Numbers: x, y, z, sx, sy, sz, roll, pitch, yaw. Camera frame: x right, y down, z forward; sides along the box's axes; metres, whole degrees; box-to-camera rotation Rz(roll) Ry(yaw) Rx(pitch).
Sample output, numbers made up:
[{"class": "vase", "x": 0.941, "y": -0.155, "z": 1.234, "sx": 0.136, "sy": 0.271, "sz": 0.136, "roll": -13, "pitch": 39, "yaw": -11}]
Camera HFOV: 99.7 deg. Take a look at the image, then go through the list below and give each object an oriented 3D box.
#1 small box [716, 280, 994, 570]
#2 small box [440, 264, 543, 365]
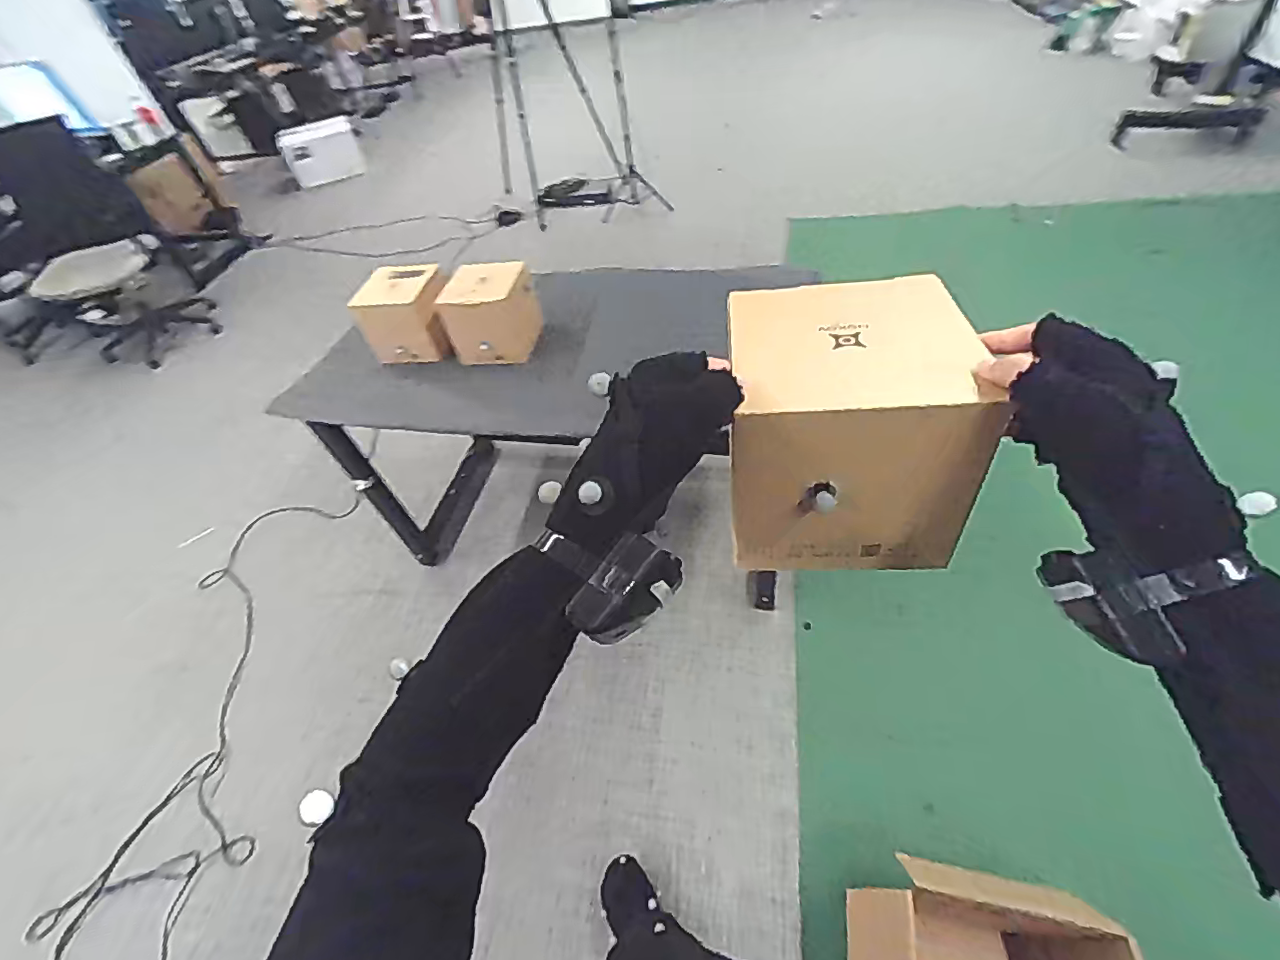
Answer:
[{"class": "small box", "x": 0.150, "y": -0.040, "z": 0.443, "sx": 0.168, "sy": 0.176, "sz": 0.179, "roll": -2, "pitch": 43, "yaw": 9}, {"class": "small box", "x": -0.342, "y": -0.394, "z": 1.292, "sx": 0.168, "sy": 0.176, "sz": 0.179, "roll": 1, "pitch": 49, "yaw": 11}]
